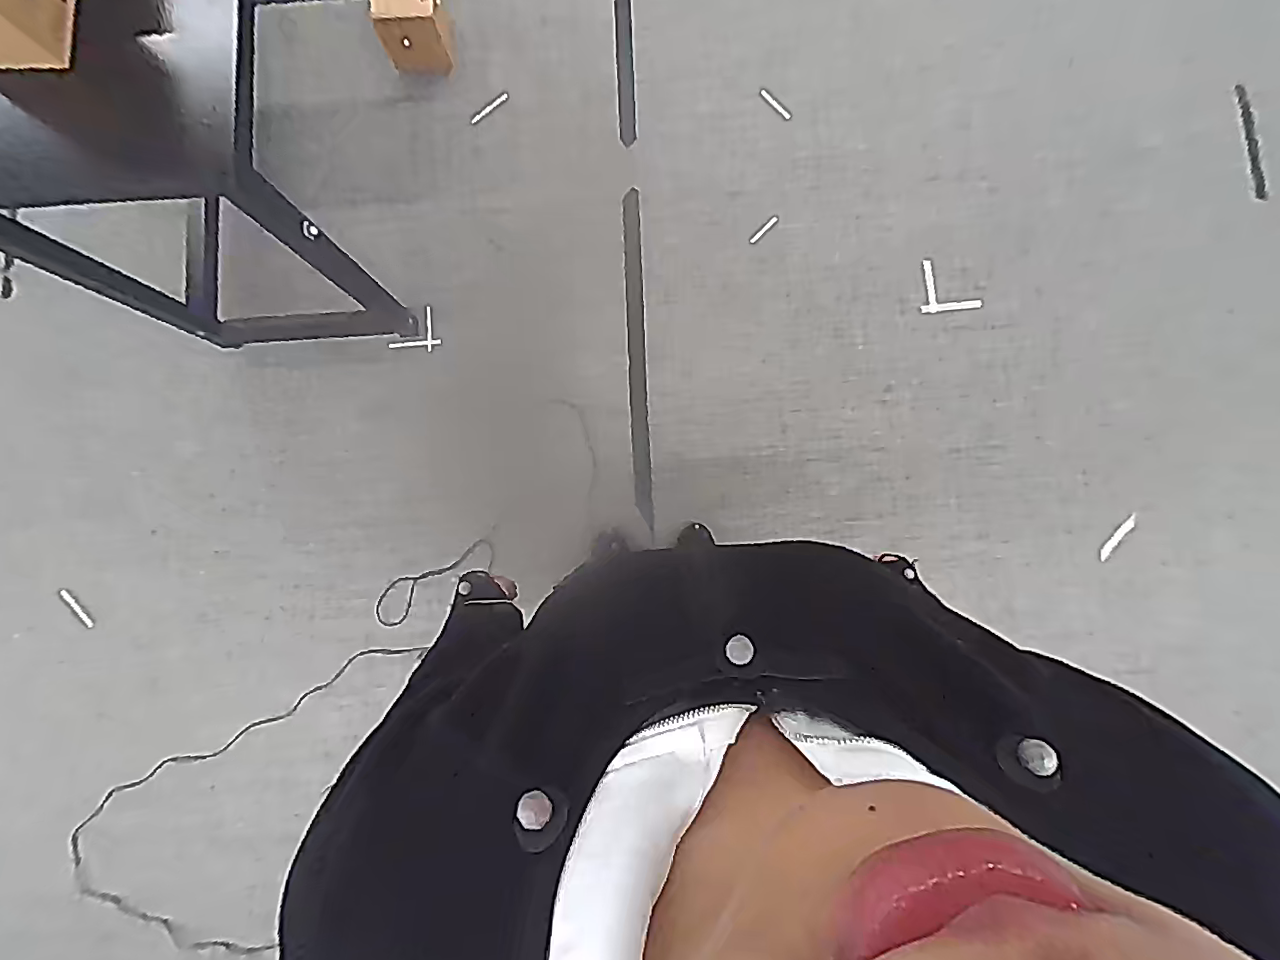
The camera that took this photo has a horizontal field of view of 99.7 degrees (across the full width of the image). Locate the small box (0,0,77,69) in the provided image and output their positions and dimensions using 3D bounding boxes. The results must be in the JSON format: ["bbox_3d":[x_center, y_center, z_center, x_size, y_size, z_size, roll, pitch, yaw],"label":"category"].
[{"bbox_3d":[-0.995,-0.746,0.794,0.179,0.176,0.168,0,84,1],"label":"small box"}]

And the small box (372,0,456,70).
[{"bbox_3d":[-0.653,-1.336,1.571,0.179,0.176,0.168,-4,86,1],"label":"small box"}]
